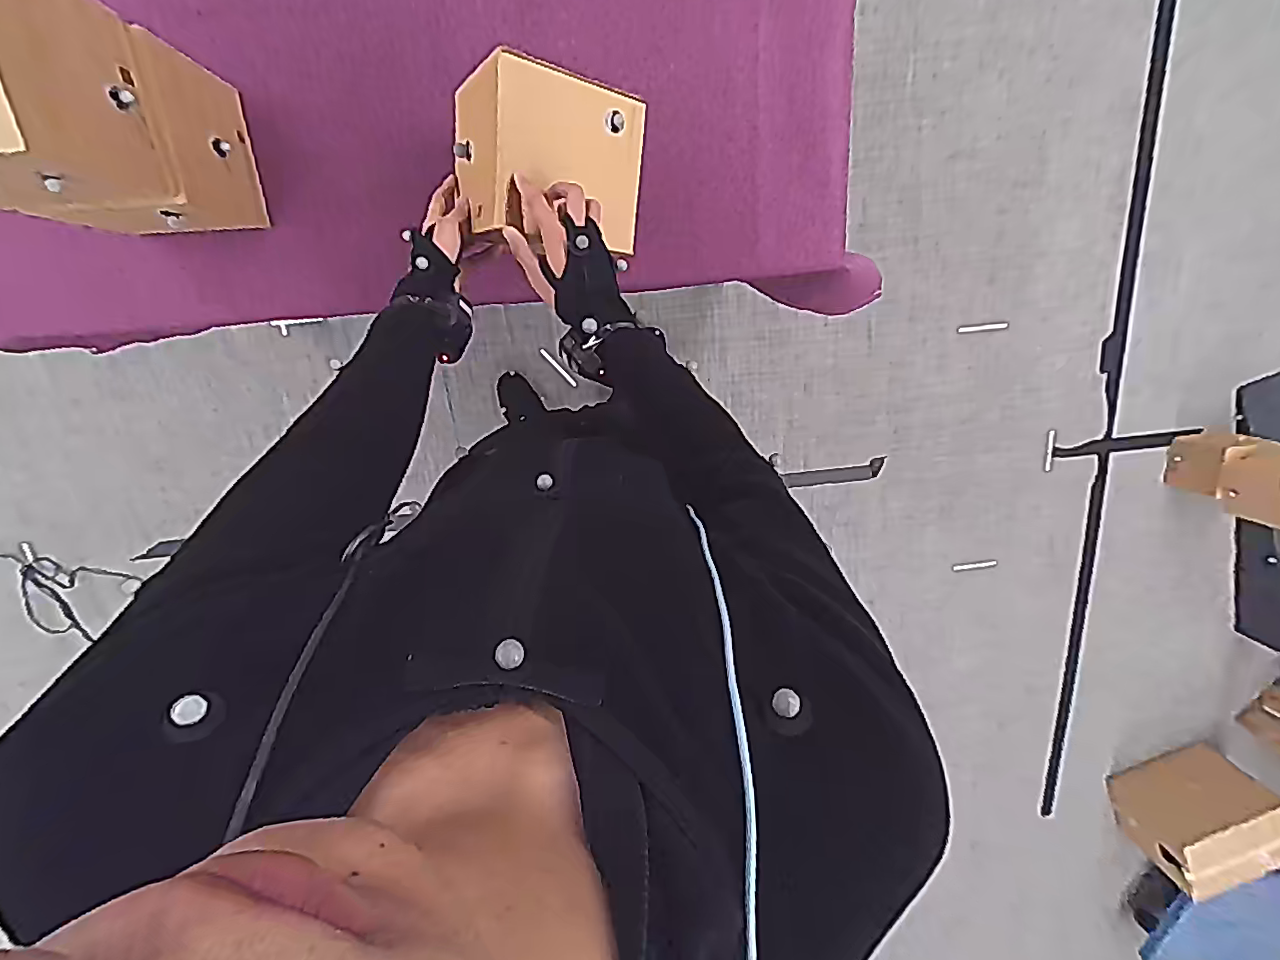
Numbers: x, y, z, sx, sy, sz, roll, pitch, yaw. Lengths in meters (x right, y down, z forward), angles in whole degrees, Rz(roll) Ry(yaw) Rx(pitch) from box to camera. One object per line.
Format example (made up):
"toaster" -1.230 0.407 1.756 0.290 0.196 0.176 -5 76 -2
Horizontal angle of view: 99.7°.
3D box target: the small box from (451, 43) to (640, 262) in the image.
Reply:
"small box" -0.120 -0.369 0.651 0.179 0.168 0.176 -3 108 -32

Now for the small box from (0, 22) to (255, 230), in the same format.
"small box" -0.589 -0.394 0.629 0.179 0.176 0.168 -5 107 -4
